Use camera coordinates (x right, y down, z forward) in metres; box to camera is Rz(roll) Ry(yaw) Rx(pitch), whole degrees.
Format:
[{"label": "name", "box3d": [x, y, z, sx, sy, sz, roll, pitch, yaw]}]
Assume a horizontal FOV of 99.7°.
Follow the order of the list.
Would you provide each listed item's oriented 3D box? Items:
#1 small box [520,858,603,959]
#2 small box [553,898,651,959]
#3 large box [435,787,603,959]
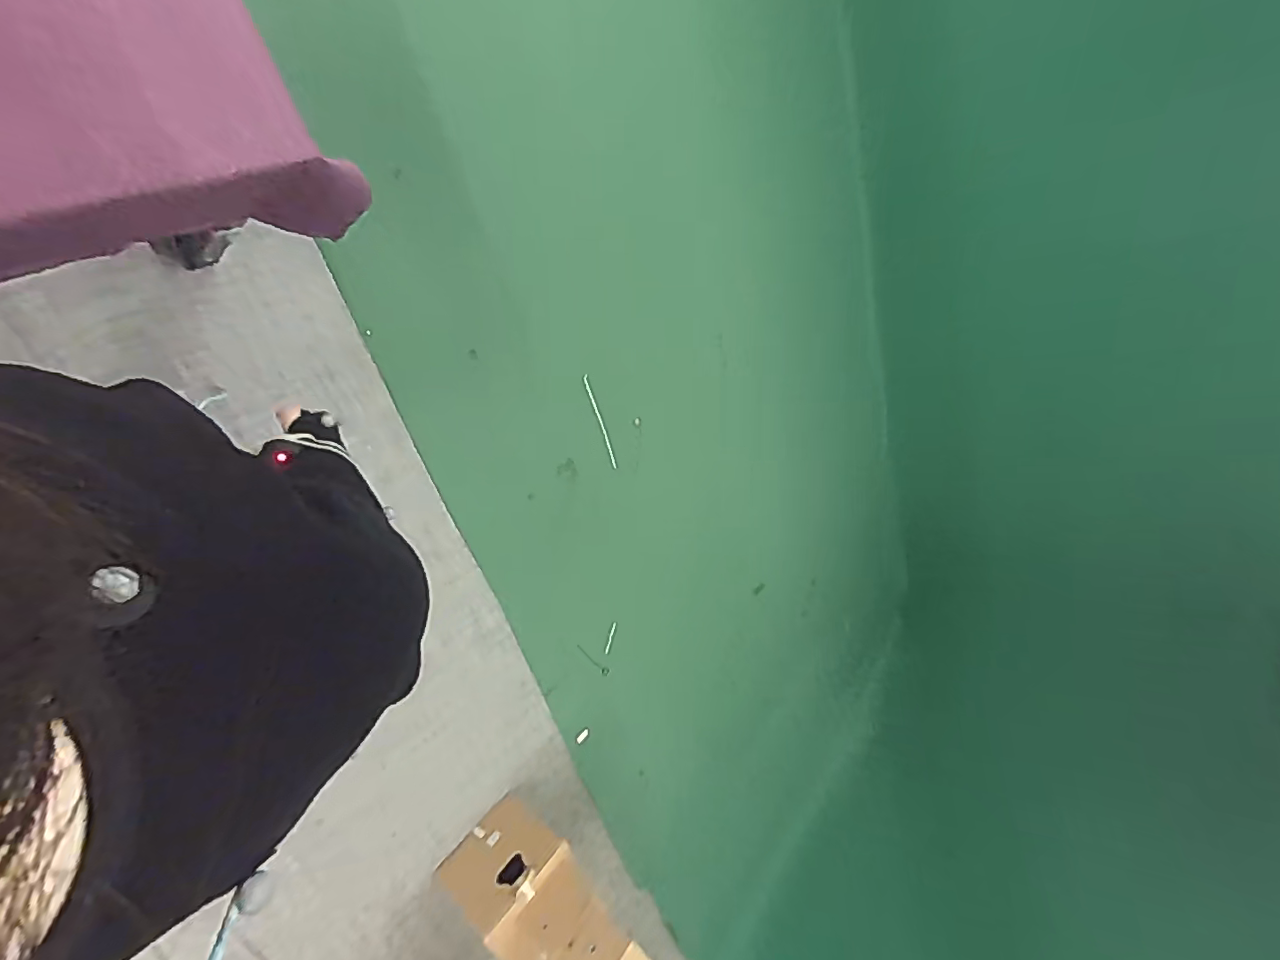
[{"label": "small box", "box3d": [-0.224, 1.257, 1.566, 0.179, 0.176, 0.168, -40, 123, -36]}, {"label": "small box", "box3d": [-0.105, 1.278, 1.453, 0.168, 0.176, 0.179, -44, 125, -33]}, {"label": "large box", "box3d": [-0.387, 1.304, 1.755, 0.320, 0.320, 0.408, -38, 122, -35]}]
